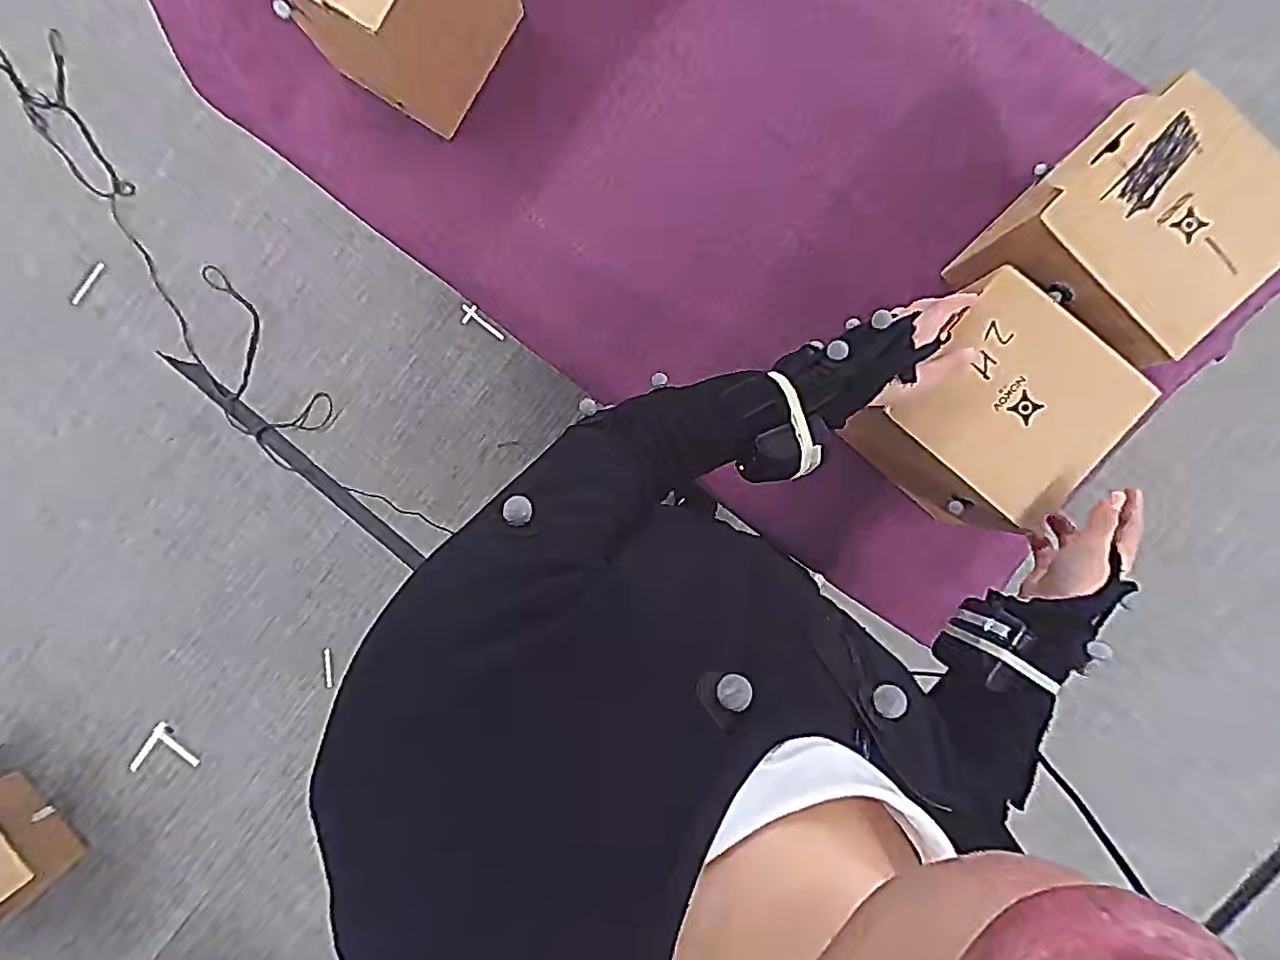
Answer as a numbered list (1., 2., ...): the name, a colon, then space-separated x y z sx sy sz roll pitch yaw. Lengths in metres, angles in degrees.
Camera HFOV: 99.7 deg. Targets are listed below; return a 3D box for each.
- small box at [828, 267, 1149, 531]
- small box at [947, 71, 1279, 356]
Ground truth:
1. small box: 0.328 -0.074 0.551 0.179 0.176 0.168 41 93 1
2. small box: 0.454 -0.229 0.535 0.168 0.176 0.179 -45 91 6
